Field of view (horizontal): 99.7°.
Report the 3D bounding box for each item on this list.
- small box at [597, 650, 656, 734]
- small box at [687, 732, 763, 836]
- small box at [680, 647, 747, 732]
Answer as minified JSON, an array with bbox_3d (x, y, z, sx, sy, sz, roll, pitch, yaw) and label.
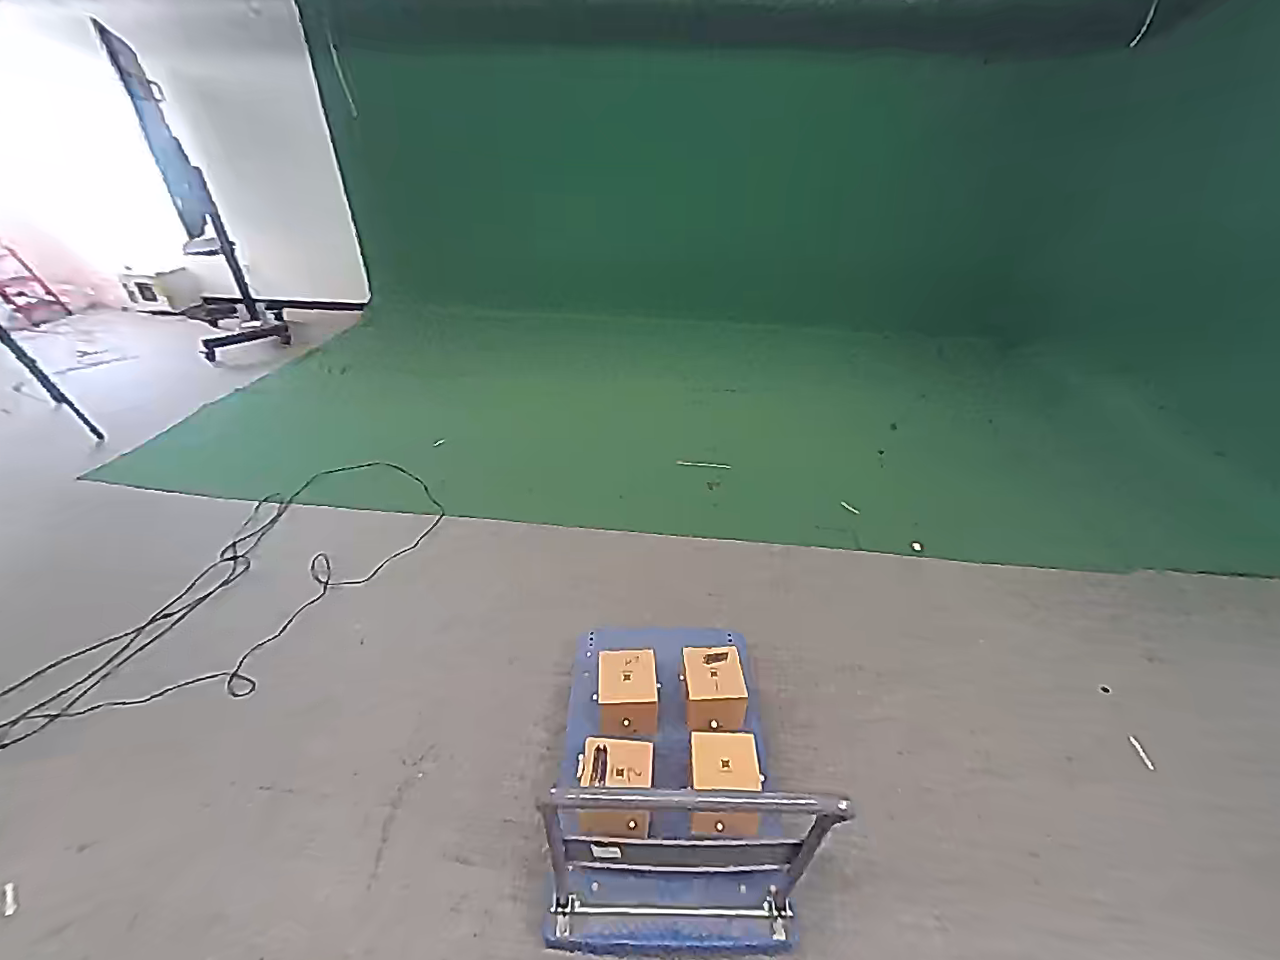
[{"bbox_3d":[-0.040,0.628,1.593,0.168,0.176,0.179,0,35,-3],"label":"small box"},{"bbox_3d":[0.210,0.778,1.387,0.168,0.176,0.179,2,35,0],"label":"small box"},{"bbox_3d":[0.212,0.622,1.608,0.168,0.176,0.179,-2,36,-2],"label":"small box"}]
